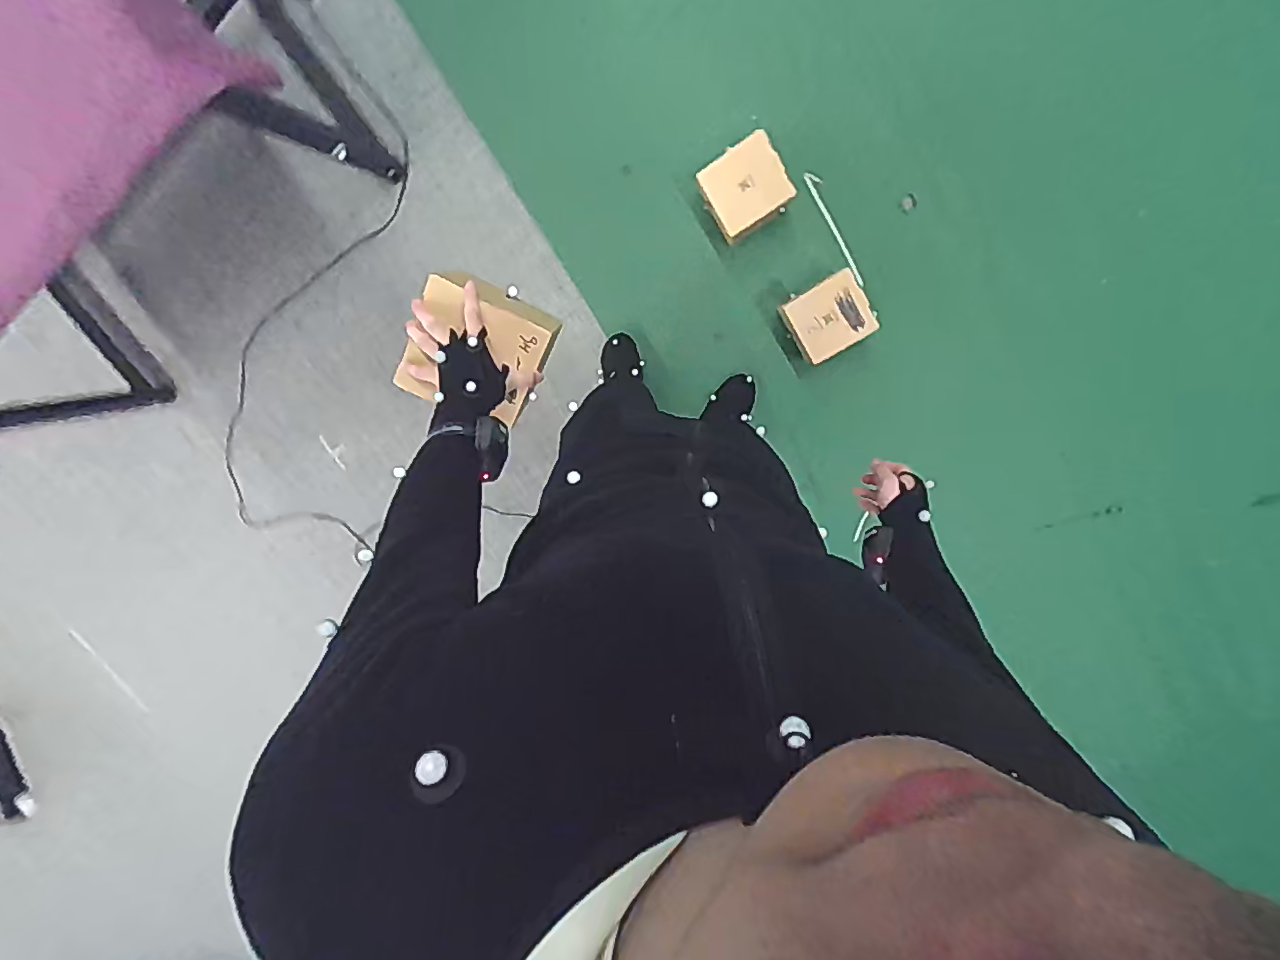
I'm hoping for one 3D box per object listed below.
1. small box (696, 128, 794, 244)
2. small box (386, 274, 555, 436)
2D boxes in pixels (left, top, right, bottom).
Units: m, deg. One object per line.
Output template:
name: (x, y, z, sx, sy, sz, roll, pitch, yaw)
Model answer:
small box: (0.256, -0.708, 1.329, 0.179, 0.176, 0.168, -30, 100, 15)
small box: (-0.244, -0.193, 0.815, 0.179, 0.176, 0.168, 24, 109, -12)
